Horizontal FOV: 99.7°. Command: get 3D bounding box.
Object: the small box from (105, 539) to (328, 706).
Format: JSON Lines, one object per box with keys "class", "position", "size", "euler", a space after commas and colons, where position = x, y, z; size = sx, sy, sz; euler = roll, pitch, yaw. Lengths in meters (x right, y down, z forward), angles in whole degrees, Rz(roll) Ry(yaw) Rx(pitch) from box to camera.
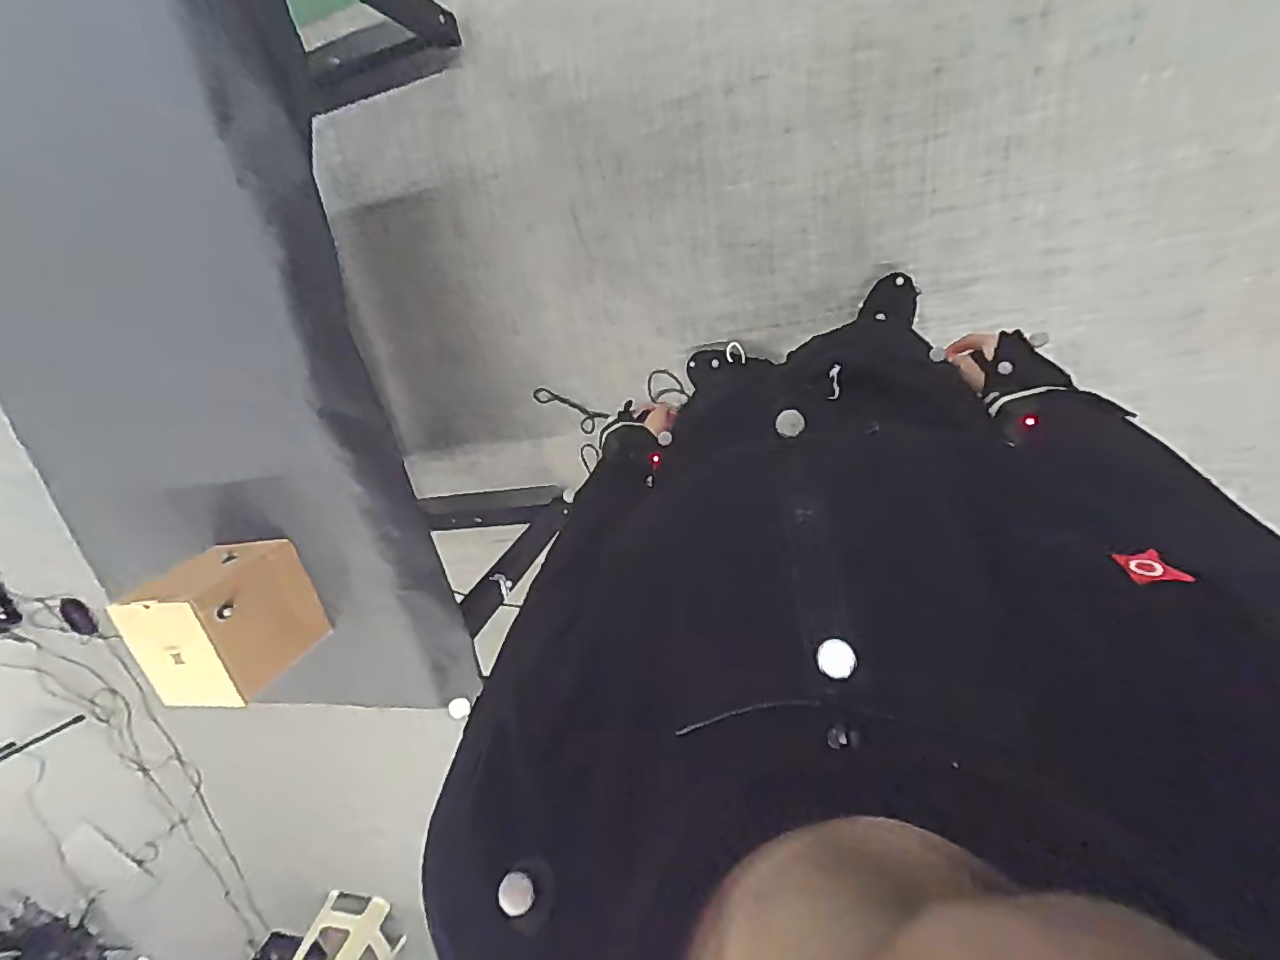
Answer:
{"class": "small box", "position": [-0.612, 0.207, 0.807], "size": [0.168, 0.176, 0.179], "euler": [-7, 110, 17]}
